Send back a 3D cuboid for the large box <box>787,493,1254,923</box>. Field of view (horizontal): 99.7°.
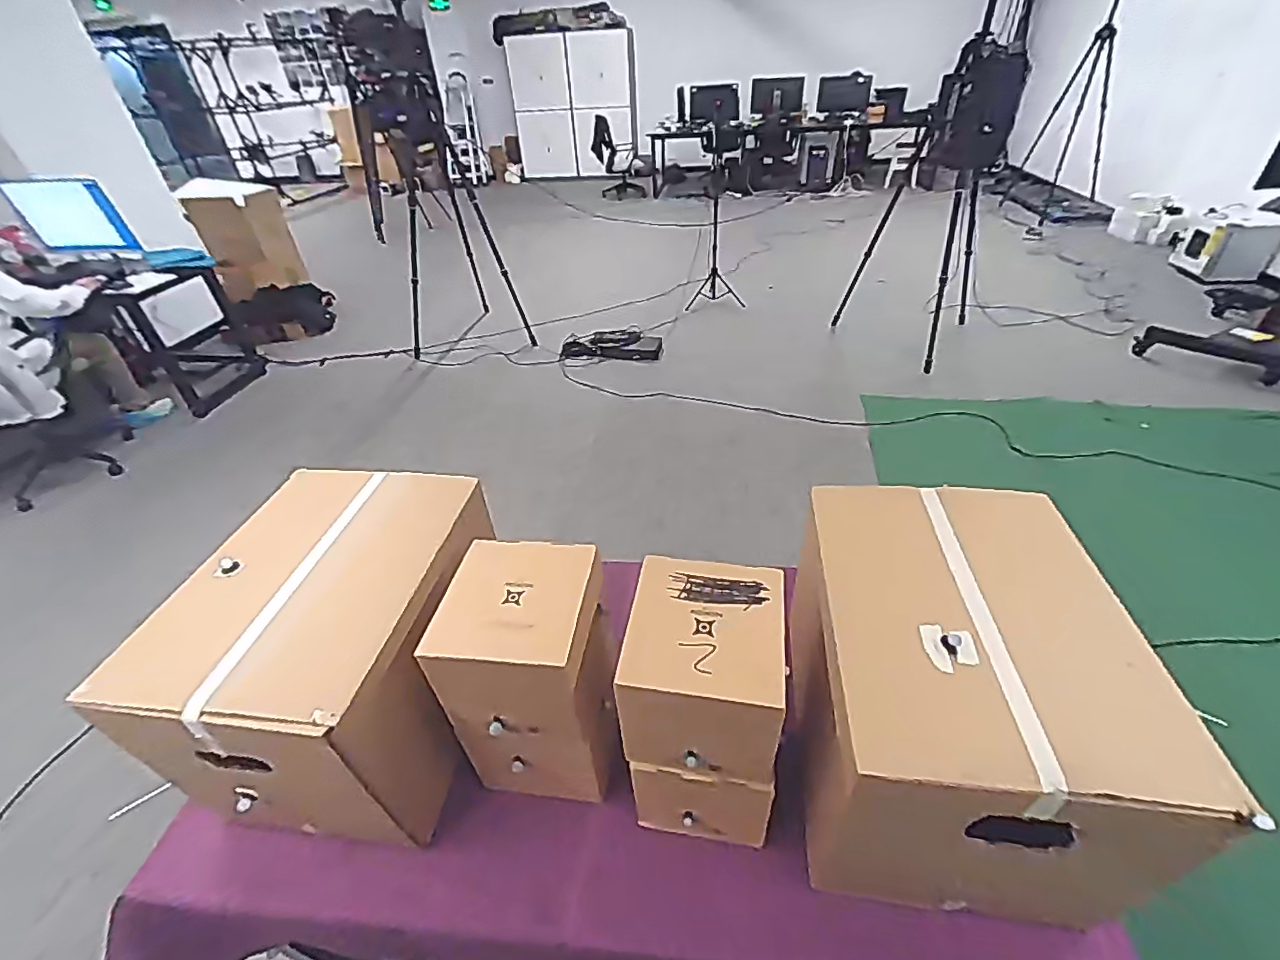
[{"bbox_3d":[0.382,0.267,0.704,0.320,0.320,0.408,3,39,8],"label":"large box"}]
